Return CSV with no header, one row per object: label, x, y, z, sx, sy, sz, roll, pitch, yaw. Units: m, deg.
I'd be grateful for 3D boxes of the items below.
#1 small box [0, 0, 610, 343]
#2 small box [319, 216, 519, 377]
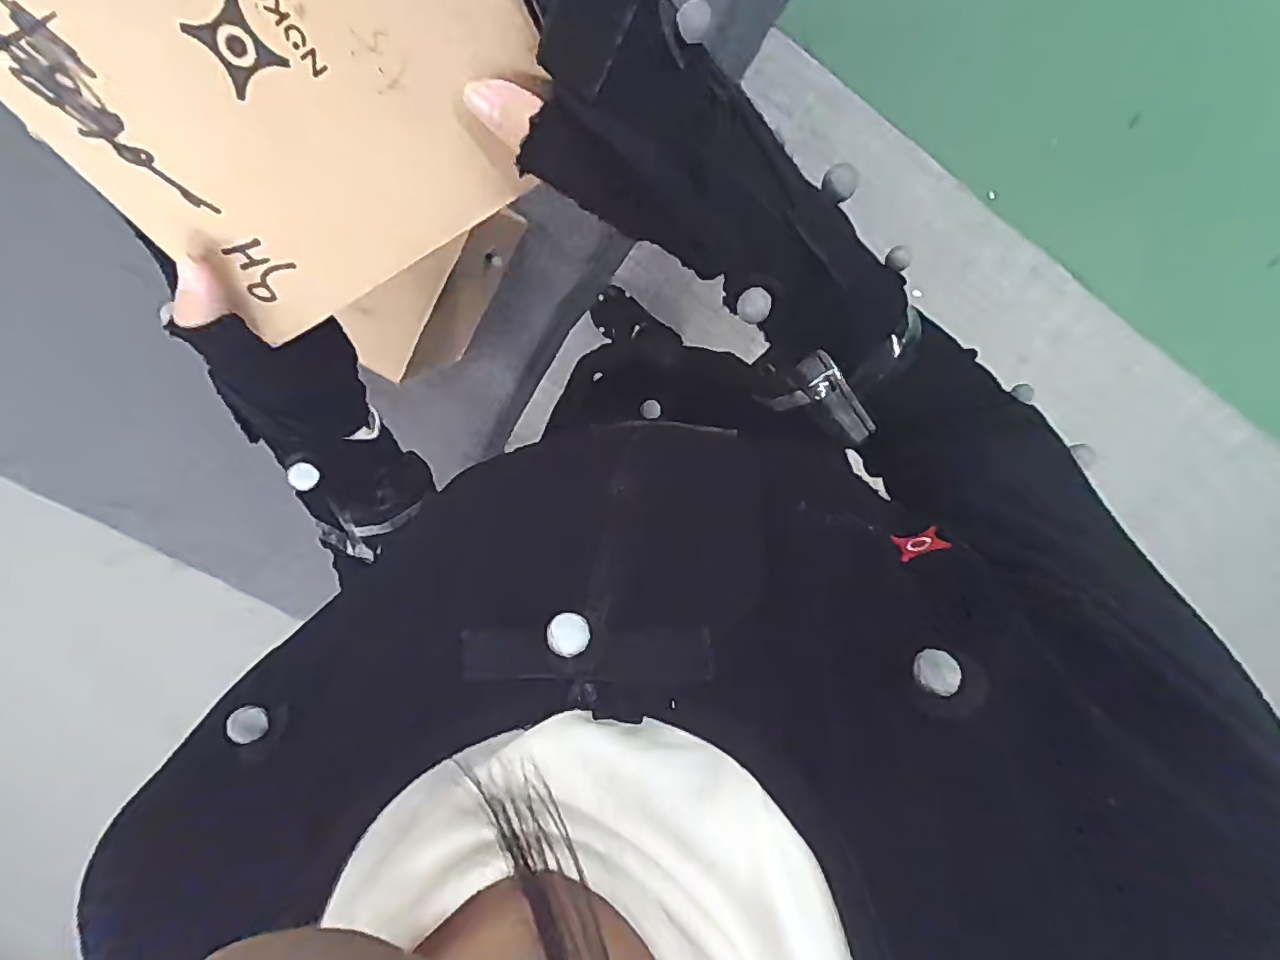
small box,-0.134,-0.201,0.246,0.179,0.176,0.168,-25,130,10
small box,-0.236,-0.231,0.531,0.168,0.176,0.179,30,110,-8
